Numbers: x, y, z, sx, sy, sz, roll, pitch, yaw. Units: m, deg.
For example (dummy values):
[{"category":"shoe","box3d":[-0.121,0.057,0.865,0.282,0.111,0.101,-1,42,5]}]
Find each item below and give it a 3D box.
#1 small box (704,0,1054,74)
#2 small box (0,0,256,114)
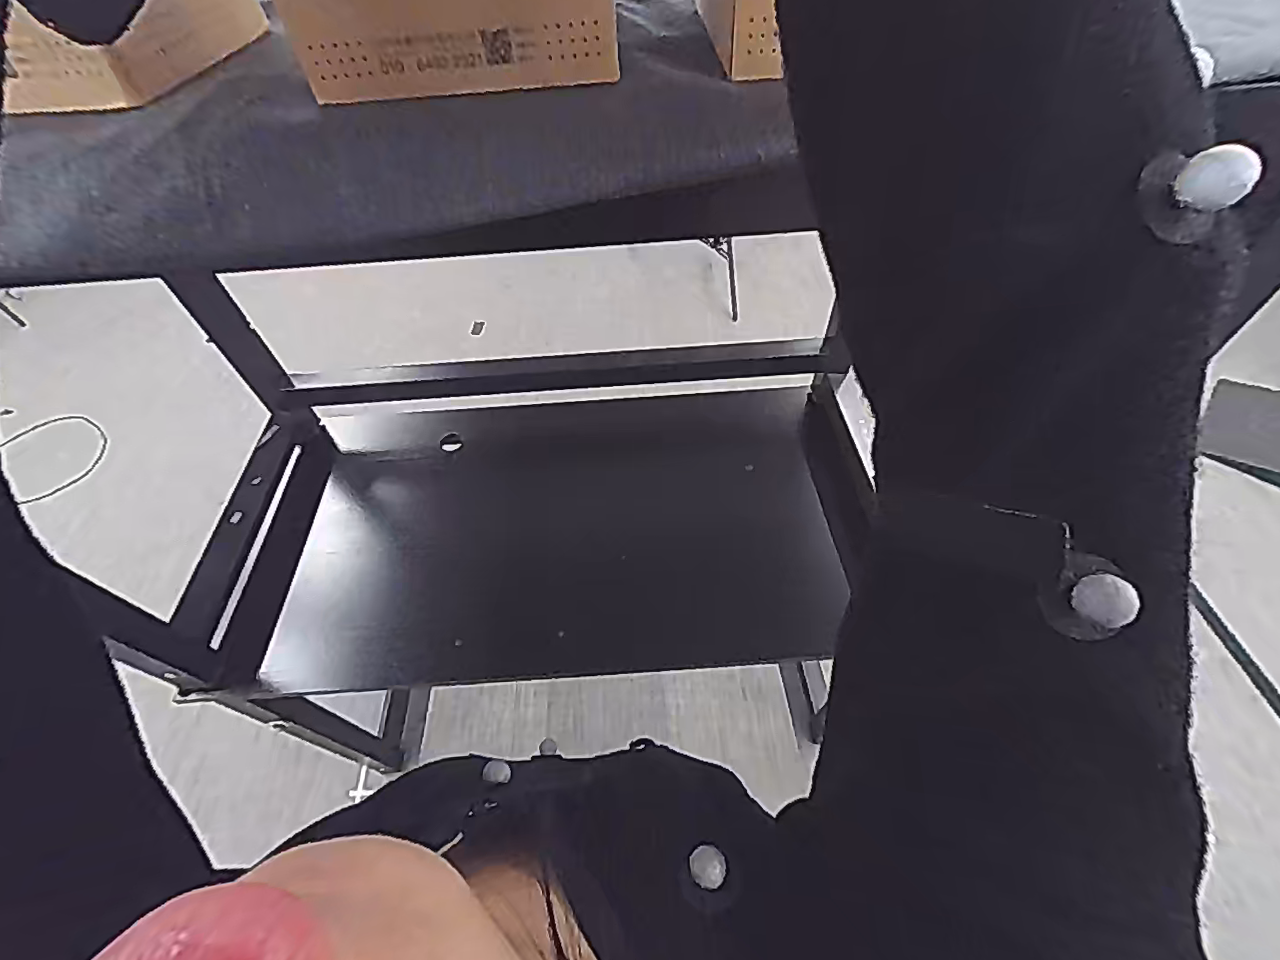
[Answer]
[{"category":"small box","box3d":[0.122,-0.334,0.278,0.168,0.176,0.179,-4,51,2]},{"category":"small box","box3d":[-0.358,-0.316,0.291,0.168,0.176,0.179,-2,50,1]}]
